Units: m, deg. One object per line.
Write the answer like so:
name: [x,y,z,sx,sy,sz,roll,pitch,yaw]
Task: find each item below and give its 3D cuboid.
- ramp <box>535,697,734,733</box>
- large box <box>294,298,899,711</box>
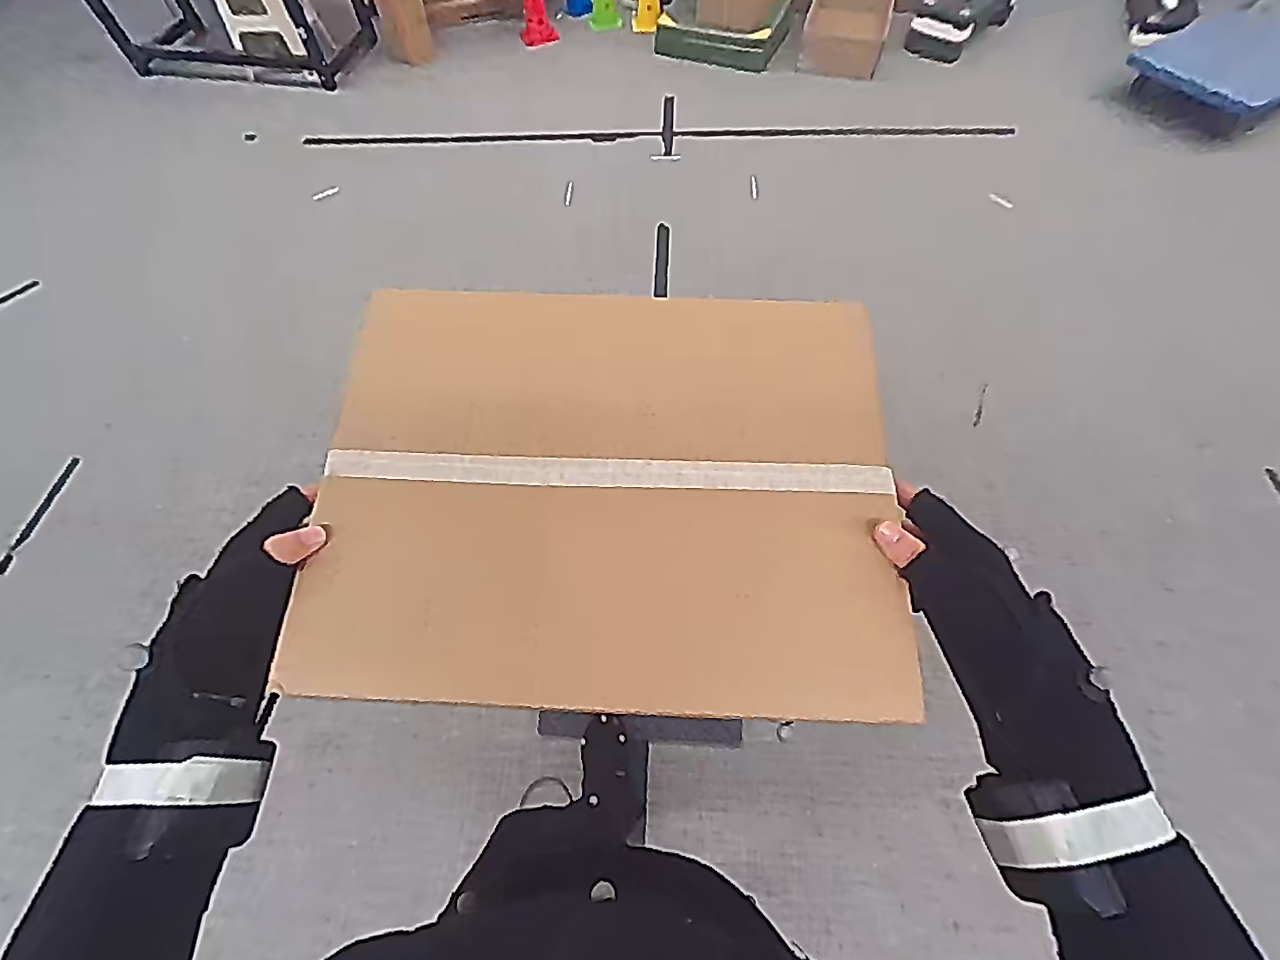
ramp: [0.007,0.133,1.466,0.509,0.206,0.991,1,61,0]
large box: [-0.022,0.048,0.541,0.408,0.320,0.320,3,69,1]
